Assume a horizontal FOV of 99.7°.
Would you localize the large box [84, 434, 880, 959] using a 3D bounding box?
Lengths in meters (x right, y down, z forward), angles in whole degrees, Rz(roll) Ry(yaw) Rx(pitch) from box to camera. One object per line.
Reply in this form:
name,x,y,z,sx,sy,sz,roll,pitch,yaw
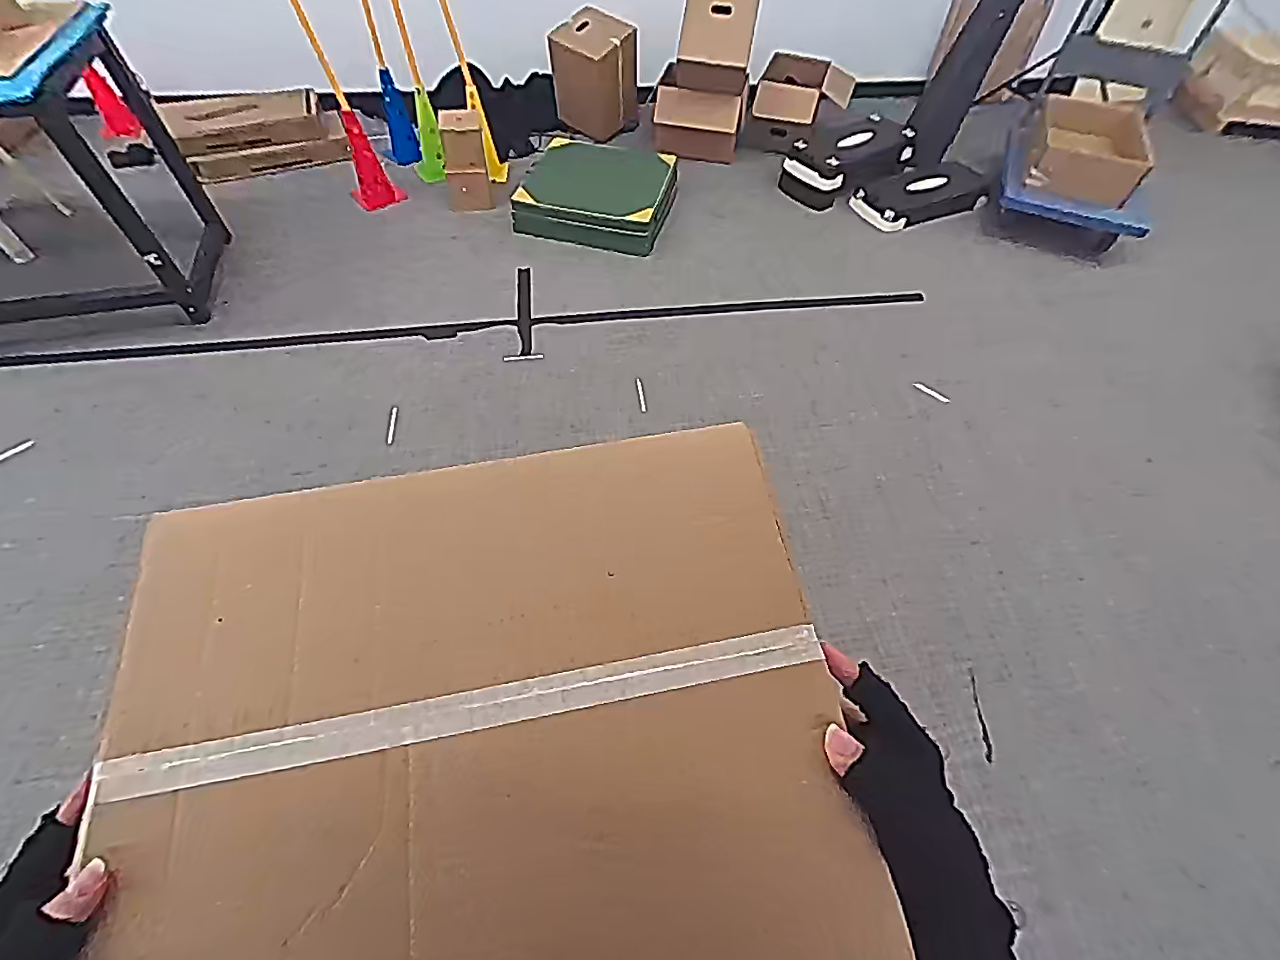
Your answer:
large box,-0.096,0.195,0.456,0.408,0.320,0.320,-9,65,-4
